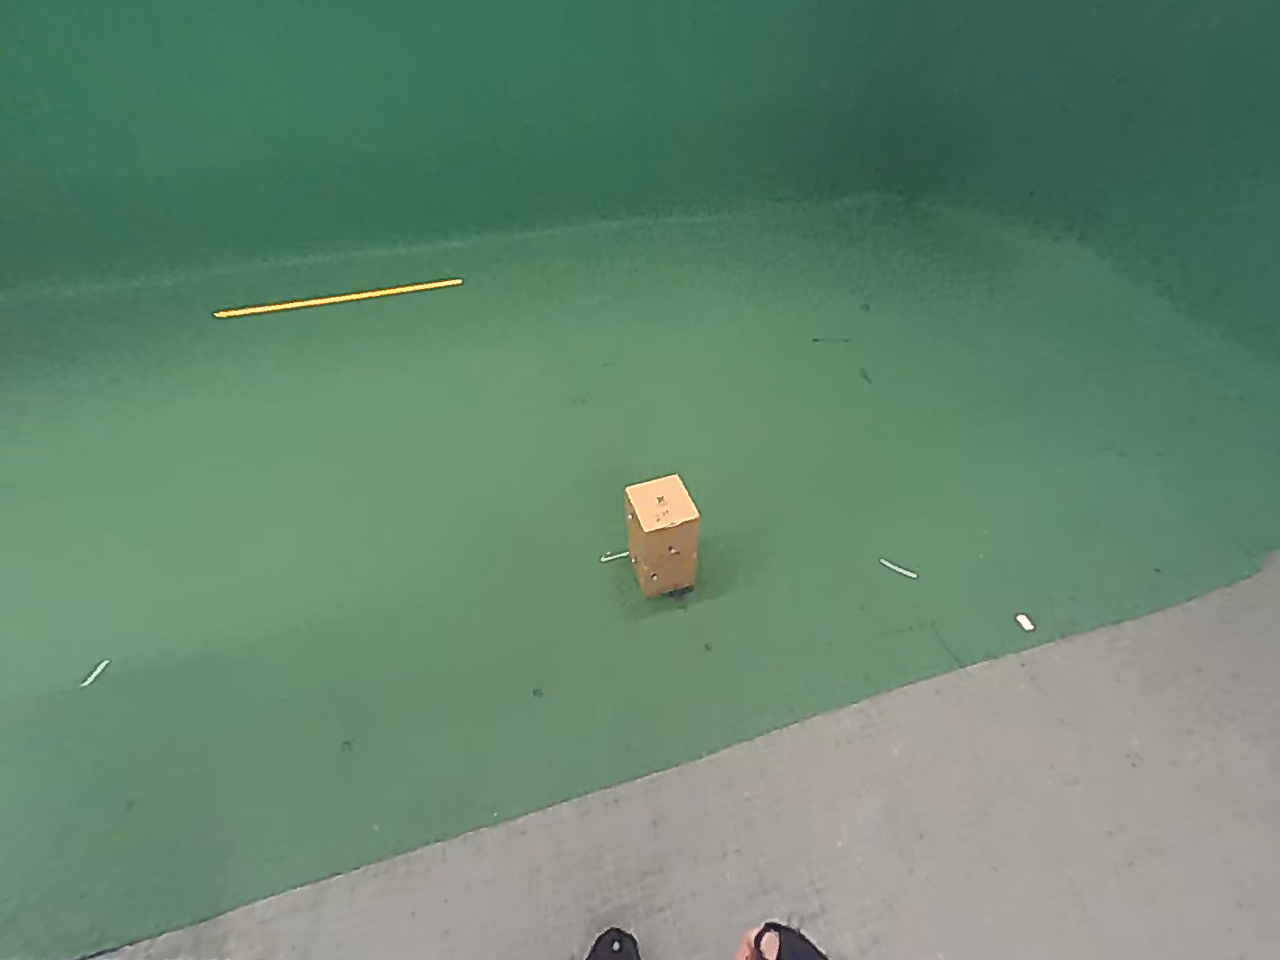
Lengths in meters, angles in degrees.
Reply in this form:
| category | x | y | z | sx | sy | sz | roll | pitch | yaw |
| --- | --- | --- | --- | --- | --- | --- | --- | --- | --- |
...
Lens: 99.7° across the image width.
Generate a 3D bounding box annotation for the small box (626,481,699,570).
| category | x | y | z | sx | sy | sz | roll | pitch | yaw |
| --- | --- | --- | --- | --- | --- | --- | --- | --- | --- |
| small box | 0.059 | 0.134 | 1.581 | 0.168 | 0.176 | 0.179 | -14 | 49 | -12 |
